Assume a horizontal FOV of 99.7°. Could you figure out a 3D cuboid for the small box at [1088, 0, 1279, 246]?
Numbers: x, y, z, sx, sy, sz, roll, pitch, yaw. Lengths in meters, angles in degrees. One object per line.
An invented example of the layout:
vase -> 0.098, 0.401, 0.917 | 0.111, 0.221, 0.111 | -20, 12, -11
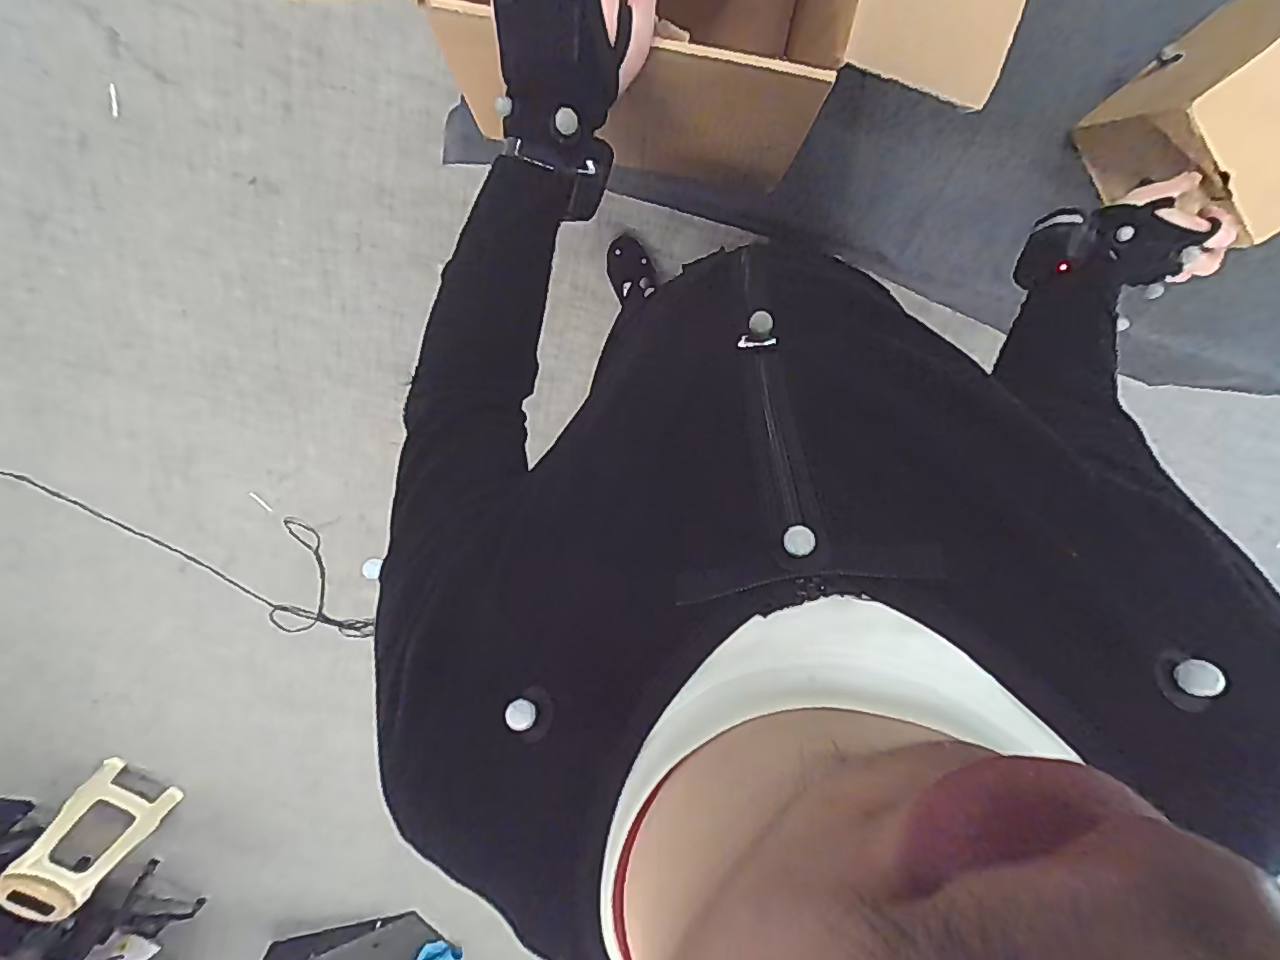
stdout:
small box -> 0.626, -0.374, 0.567 | 0.179, 0.176, 0.168 | -39, 108, 20
